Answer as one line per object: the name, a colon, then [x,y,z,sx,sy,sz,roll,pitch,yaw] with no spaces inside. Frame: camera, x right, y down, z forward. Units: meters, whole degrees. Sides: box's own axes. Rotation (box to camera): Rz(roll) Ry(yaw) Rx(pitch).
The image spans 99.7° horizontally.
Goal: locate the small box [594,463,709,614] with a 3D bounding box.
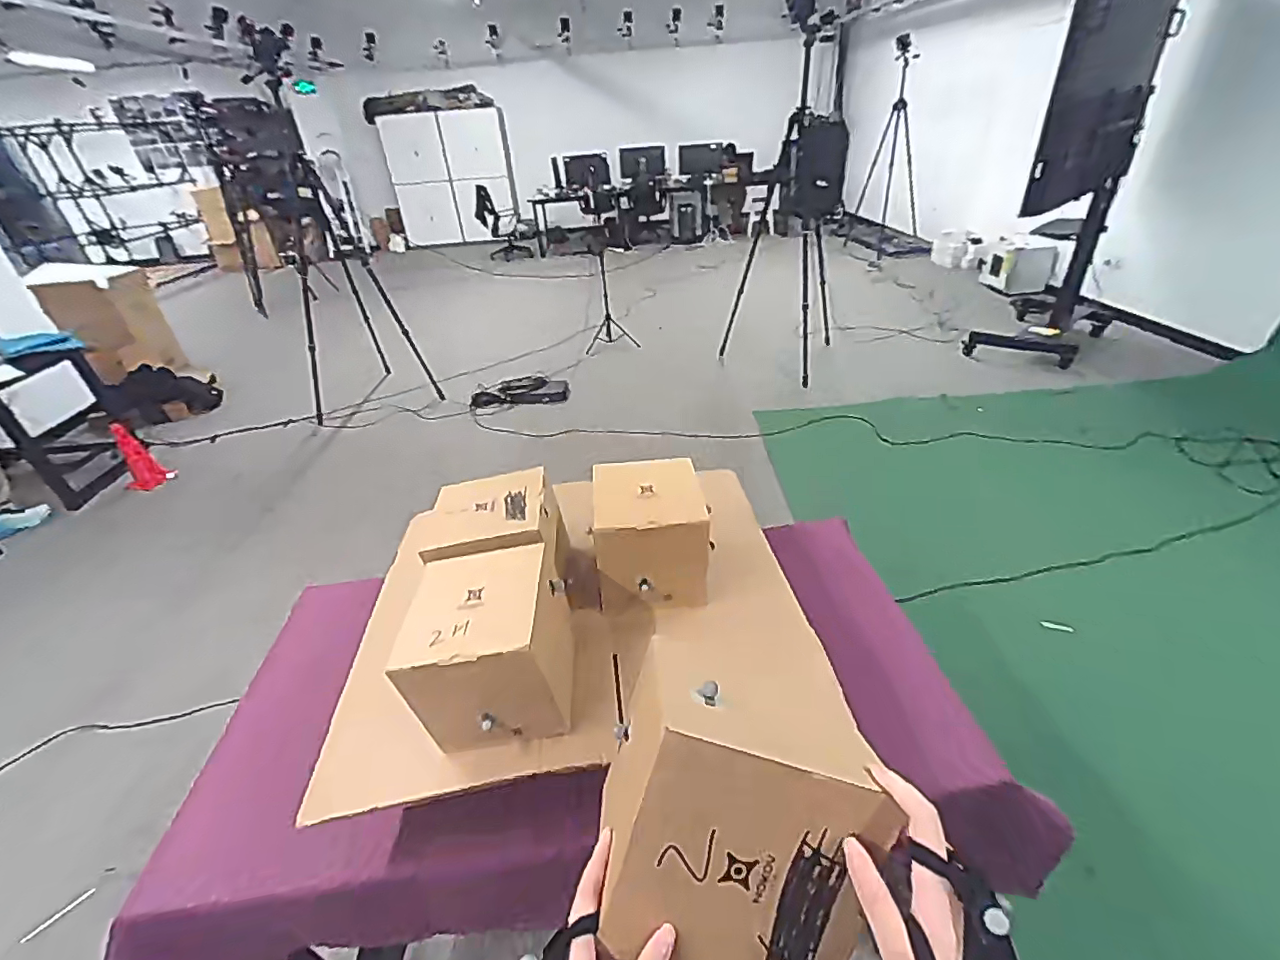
small box: [0.013,0.091,0.870,0.168,0.176,0.179,-5,34,-3]
